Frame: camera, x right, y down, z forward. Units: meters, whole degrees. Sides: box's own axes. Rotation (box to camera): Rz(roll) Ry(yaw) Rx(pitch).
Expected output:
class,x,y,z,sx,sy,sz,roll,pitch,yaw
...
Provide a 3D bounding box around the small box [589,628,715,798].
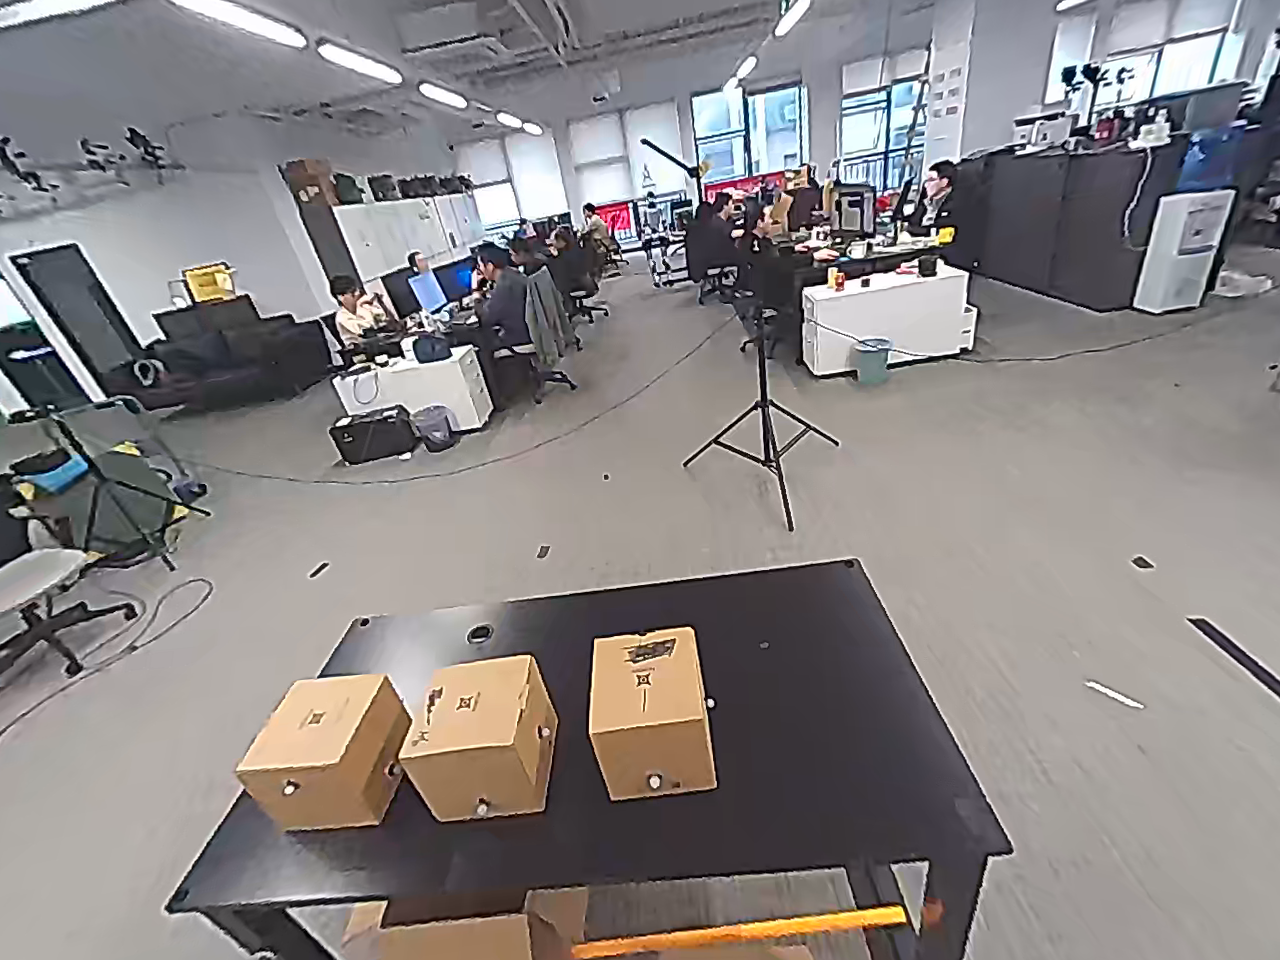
class,x,y,z,sx,sy,sz,roll,pitch,yaw
small box,0.022,0.366,0.857,0.168,0.176,0.179,-9,29,4

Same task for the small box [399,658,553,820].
class,x,y,z,sx,sy,sz,roll,pitch,yaw
small box,-0.246,0.414,0.868,0.179,0.176,0.168,-8,29,3

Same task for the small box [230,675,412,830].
class,x,y,z,sx,sy,sz,roll,pitch,yaw
small box,-0.505,0.450,0.894,0.179,0.176,0.168,-7,30,7
